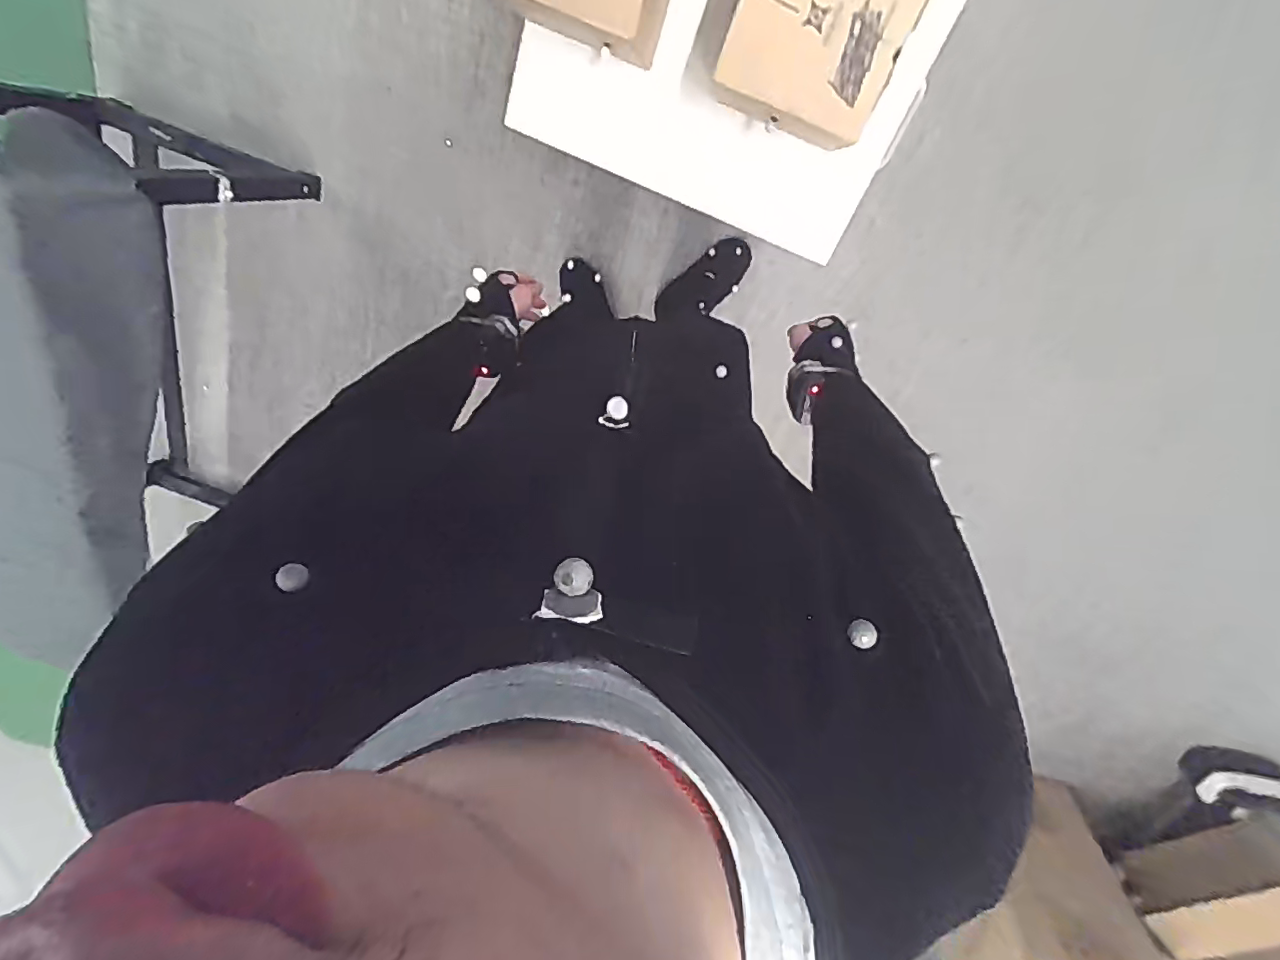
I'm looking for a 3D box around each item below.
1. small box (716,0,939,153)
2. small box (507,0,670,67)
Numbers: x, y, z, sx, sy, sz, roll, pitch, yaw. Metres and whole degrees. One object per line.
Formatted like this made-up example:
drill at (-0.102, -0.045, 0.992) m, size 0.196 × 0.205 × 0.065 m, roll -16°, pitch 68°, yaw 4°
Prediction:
small box at (0.198, -0.492, 0.610) m, size 0.179 × 0.176 × 0.168 m, roll 22°, pitch 118°, yaw -4°
small box at (-0.047, -0.591, 0.595) m, size 0.179 × 0.176 × 0.168 m, roll 21°, pitch 117°, yaw -3°
